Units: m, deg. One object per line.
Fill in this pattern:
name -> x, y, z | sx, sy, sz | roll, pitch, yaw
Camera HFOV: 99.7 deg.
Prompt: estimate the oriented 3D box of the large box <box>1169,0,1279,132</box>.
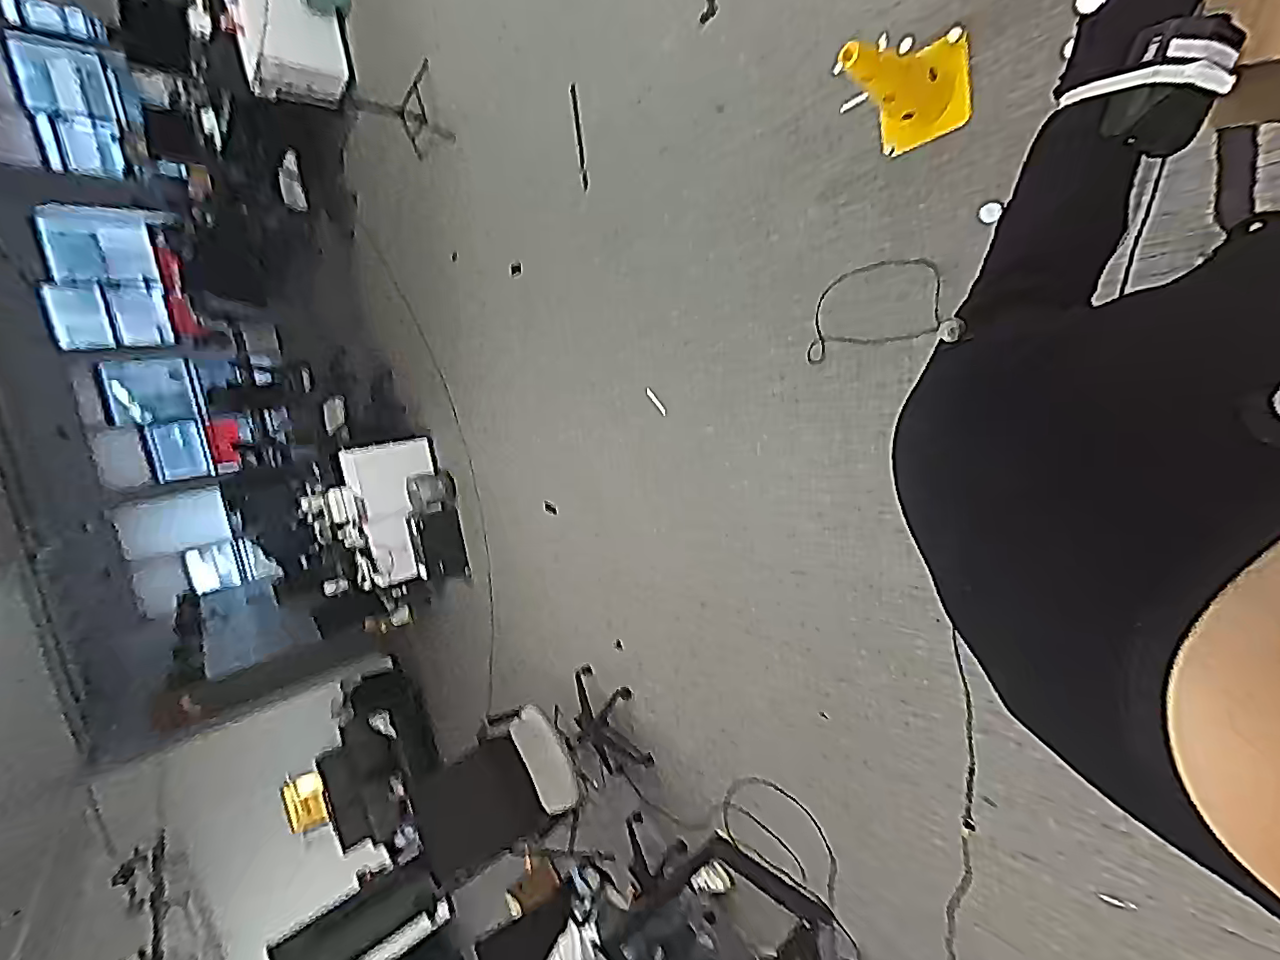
large box -> 0.595, -0.401, 0.270 | 0.408, 0.320, 0.320 | 22, 123, 42
